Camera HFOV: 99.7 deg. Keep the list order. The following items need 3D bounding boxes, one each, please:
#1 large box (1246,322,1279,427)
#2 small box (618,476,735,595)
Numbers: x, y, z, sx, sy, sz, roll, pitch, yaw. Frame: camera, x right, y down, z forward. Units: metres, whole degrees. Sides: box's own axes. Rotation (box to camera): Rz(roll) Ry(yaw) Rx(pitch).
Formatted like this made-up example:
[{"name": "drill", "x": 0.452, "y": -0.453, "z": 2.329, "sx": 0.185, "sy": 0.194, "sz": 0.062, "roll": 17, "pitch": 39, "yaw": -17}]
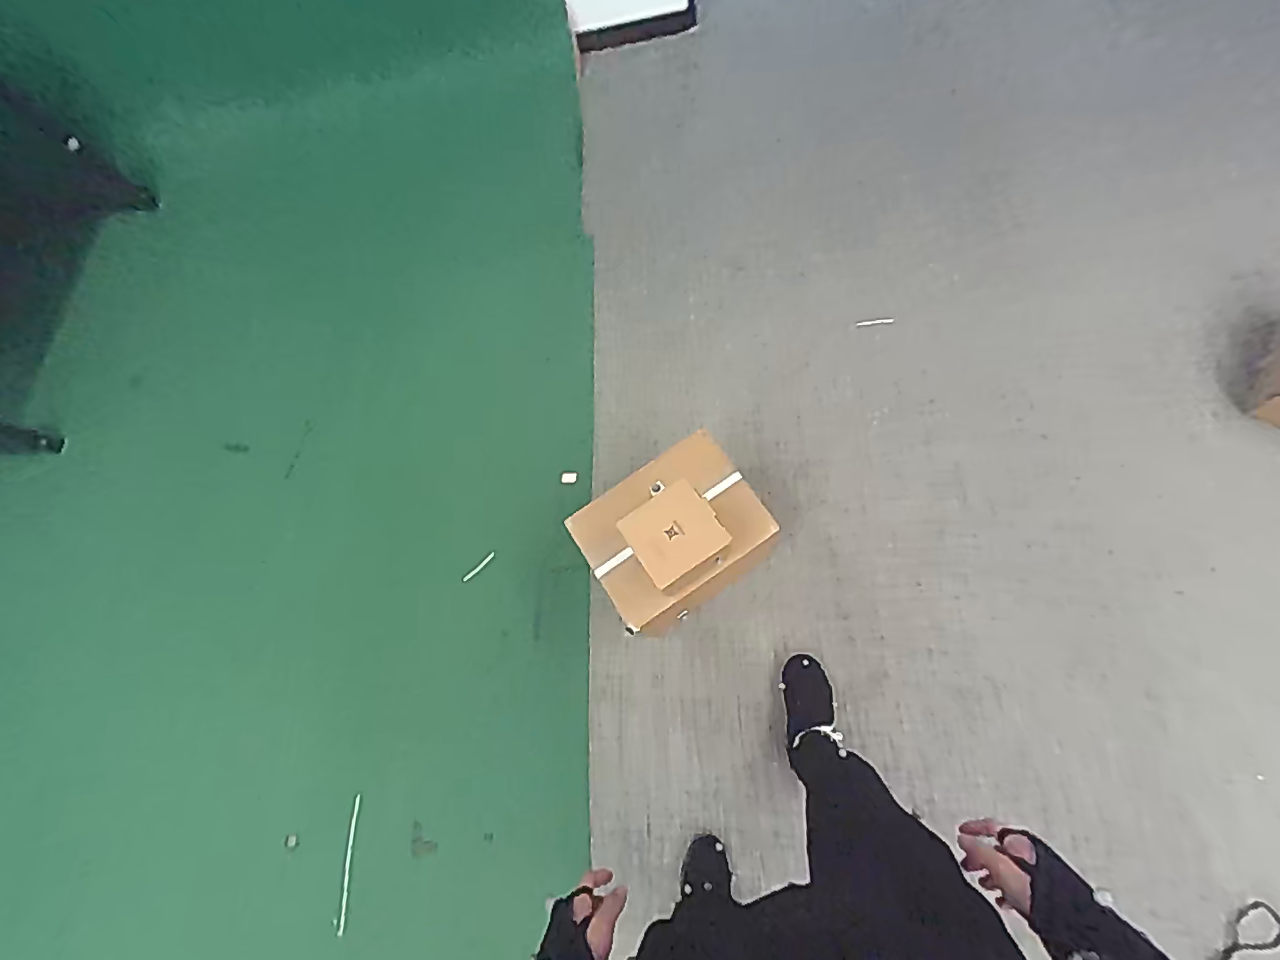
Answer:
[{"name": "large box", "x": 1.767, "y": -0.254, "z": 1.215, "sx": 0.408, "sy": 0.320, "sz": 0.320, "roll": 27, "pitch": 78, "yaw": 18}, {"name": "small box", "x": 0.079, "y": 0.122, "z": 1.129, "sx": 0.179, "sy": 0.176, "sz": 0.168, "roll": -34, "pitch": 70, "yaw": -1}]
